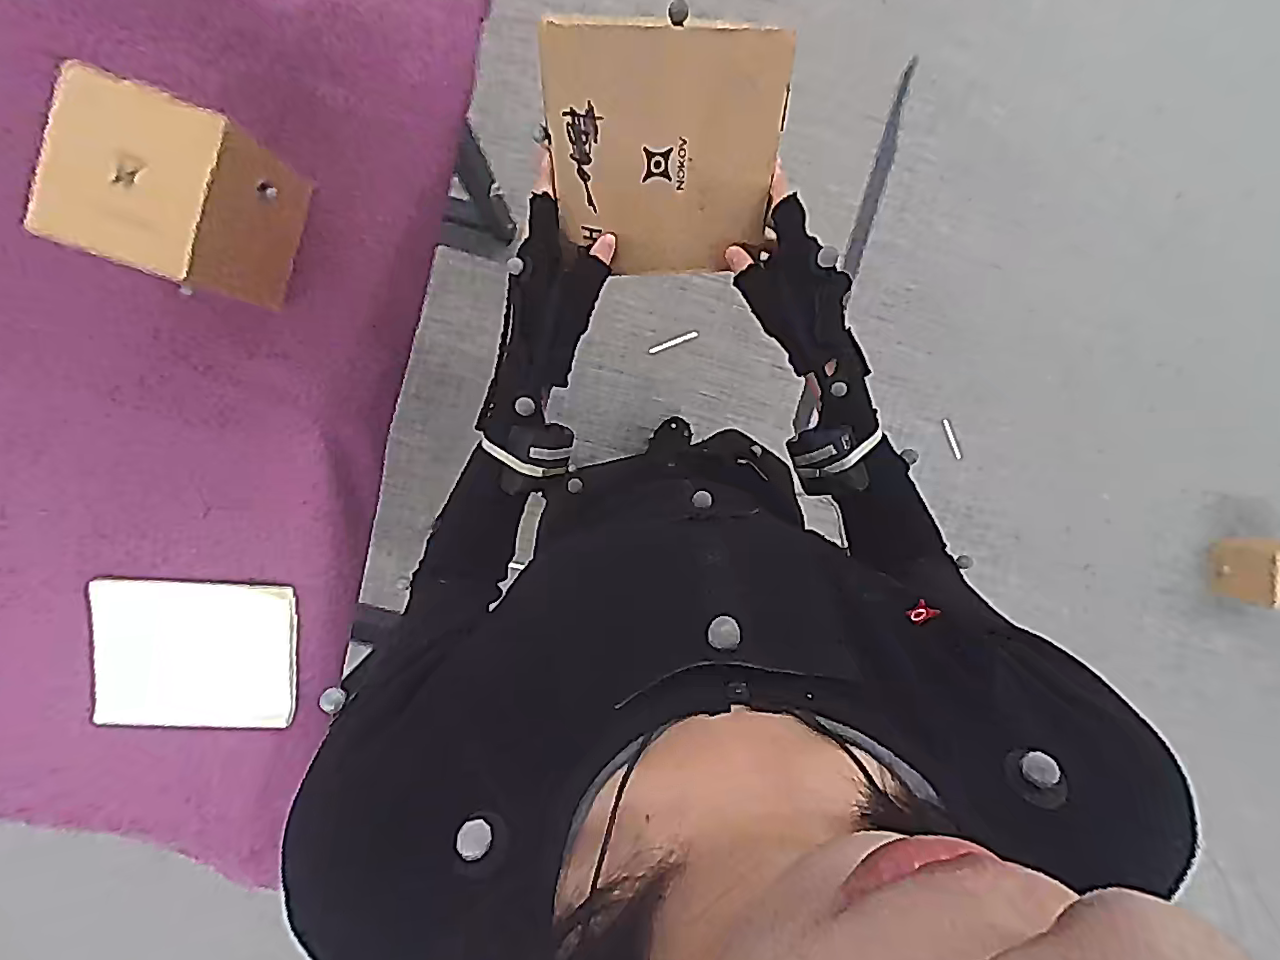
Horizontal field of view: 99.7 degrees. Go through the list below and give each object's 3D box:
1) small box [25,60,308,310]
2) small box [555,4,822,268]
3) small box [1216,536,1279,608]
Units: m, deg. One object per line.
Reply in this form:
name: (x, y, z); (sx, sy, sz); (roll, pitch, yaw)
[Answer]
small box: (-0.525, -0.320, 0.628); (0.168, 0.176, 0.179); (18, 96, -3)
small box: (0.023, -0.293, 0.462); (0.179, 0.176, 0.168); (-4, 130, -8)
small box: (1.858, 0.264, 1.577); (0.179, 0.176, 0.168); (-5, 95, -2)
